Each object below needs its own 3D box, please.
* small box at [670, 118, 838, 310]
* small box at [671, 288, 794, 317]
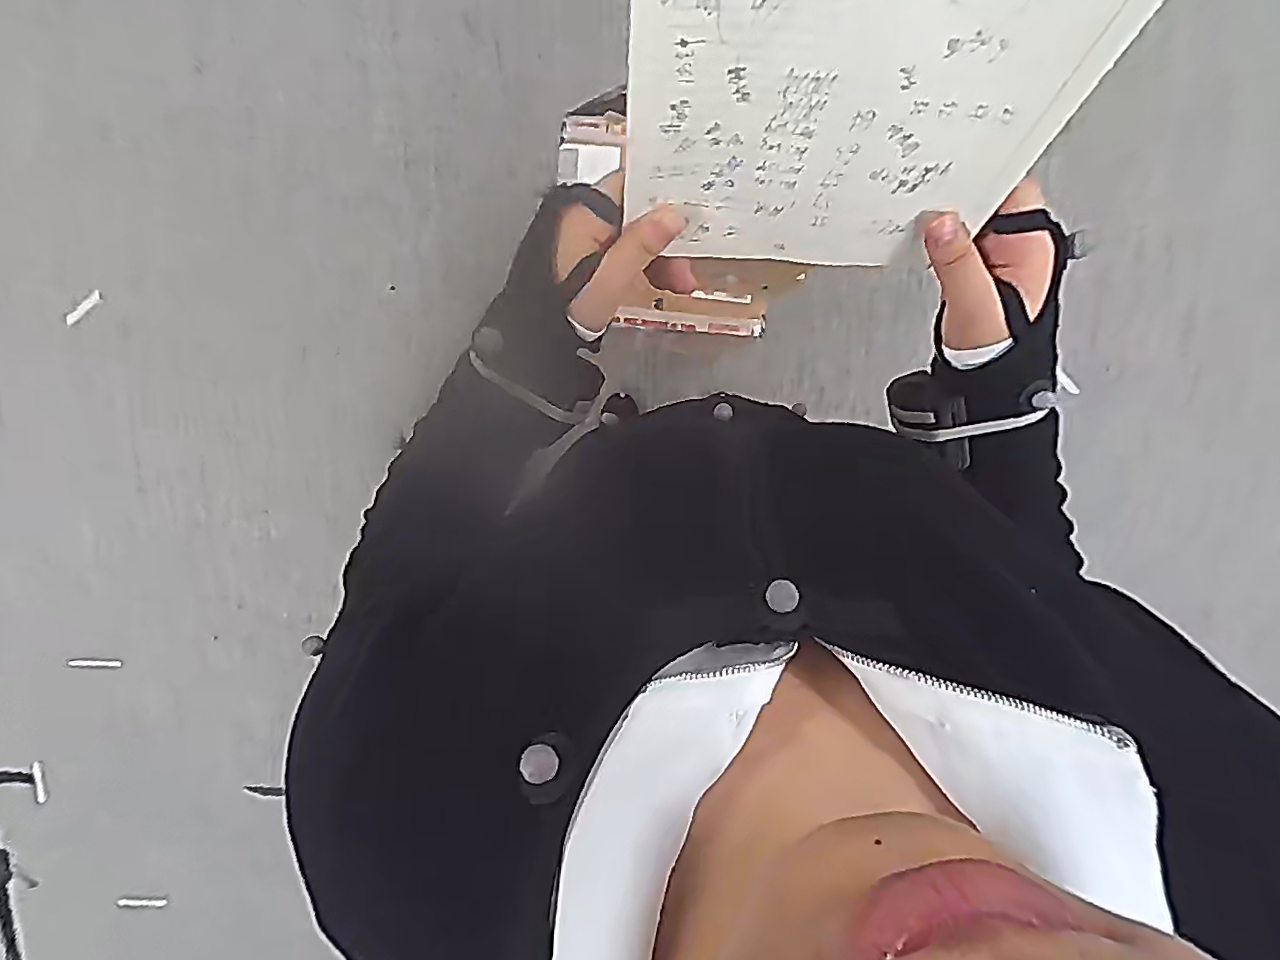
[{"bbox_3d":[0.137,-0.336,0.719,0.168,0.176,0.179,8,101,-4],"label":"small box"},{"bbox_3d":[0.151,-0.365,0.881,0.179,0.176,0.168,4,100,-2],"label":"small box"}]
